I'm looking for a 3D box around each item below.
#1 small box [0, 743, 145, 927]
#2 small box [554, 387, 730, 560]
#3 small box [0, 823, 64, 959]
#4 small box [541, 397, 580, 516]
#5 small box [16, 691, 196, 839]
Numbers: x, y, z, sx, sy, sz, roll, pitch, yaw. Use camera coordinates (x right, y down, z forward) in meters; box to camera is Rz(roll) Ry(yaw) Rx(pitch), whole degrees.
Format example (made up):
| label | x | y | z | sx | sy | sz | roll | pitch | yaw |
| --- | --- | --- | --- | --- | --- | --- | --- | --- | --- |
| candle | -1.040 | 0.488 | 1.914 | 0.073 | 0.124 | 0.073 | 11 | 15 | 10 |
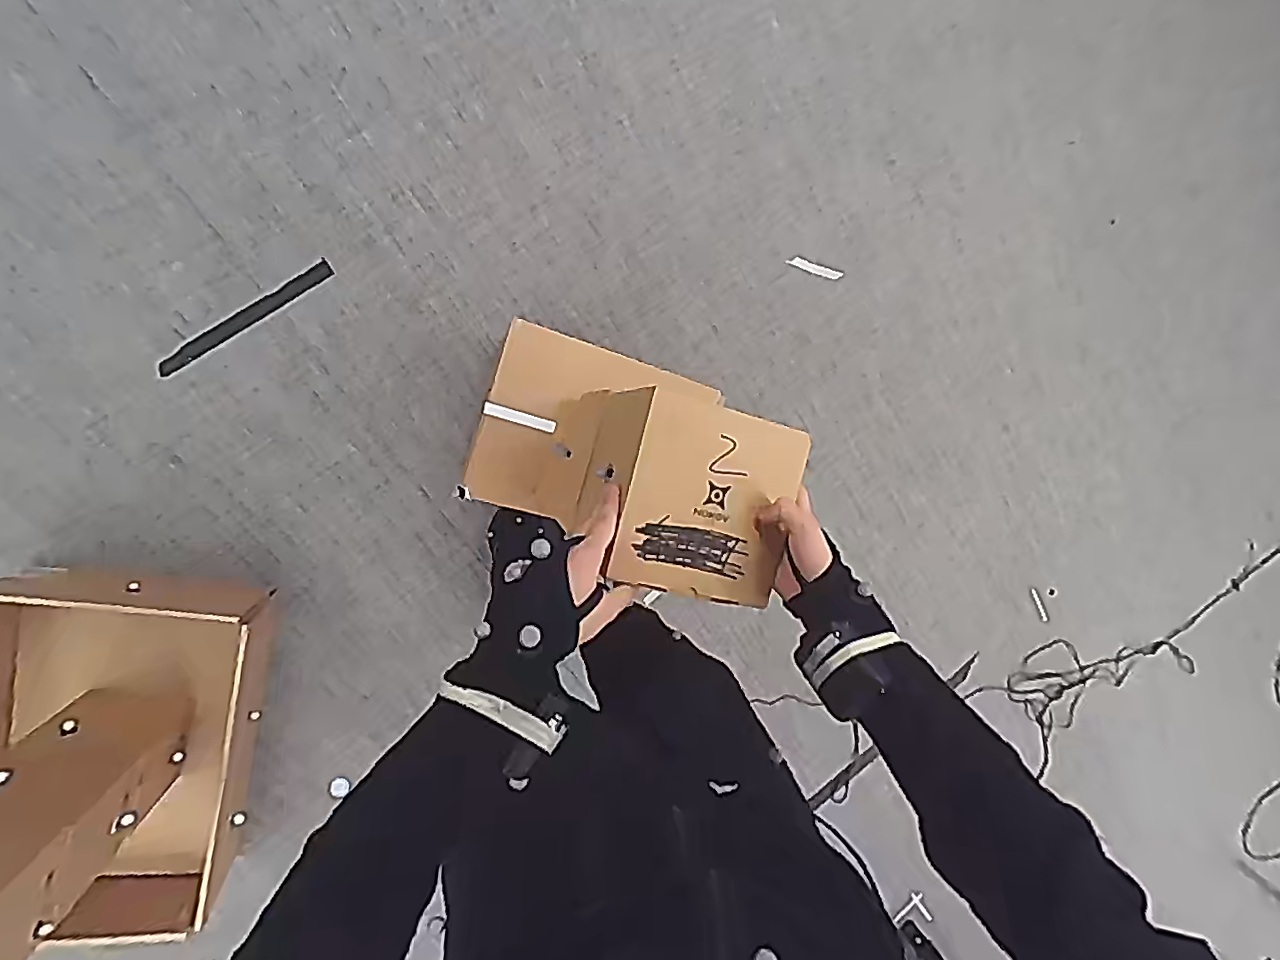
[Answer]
| label | x | y | z | sx | sy | sz | roll | pitch | yaw |
| --- | --- | --- | --- | --- | --- | --- | --- | --- | --- |
| small box | -0.901 | 0.518 | 0.804 | 0.179 | 0.176 | 0.168 | 13 | 95 | -19 |
| small box | -0.010 | -0.014 | 0.720 | 0.168 | 0.176 | 0.179 | 16 | 93 | -19 |
| small box | -0.860 | 0.542 | 0.647 | 0.179 | 0.176 | 0.168 | 12 | 95 | -16 |
| small box | -0.057 | -0.026 | 0.877 | 0.168 | 0.176 | 0.179 | 16 | 92 | -18 |
| small box | -0.945 | 0.496 | 0.959 | 0.179 | 0.176 | 0.168 | 14 | 94 | -18 |
